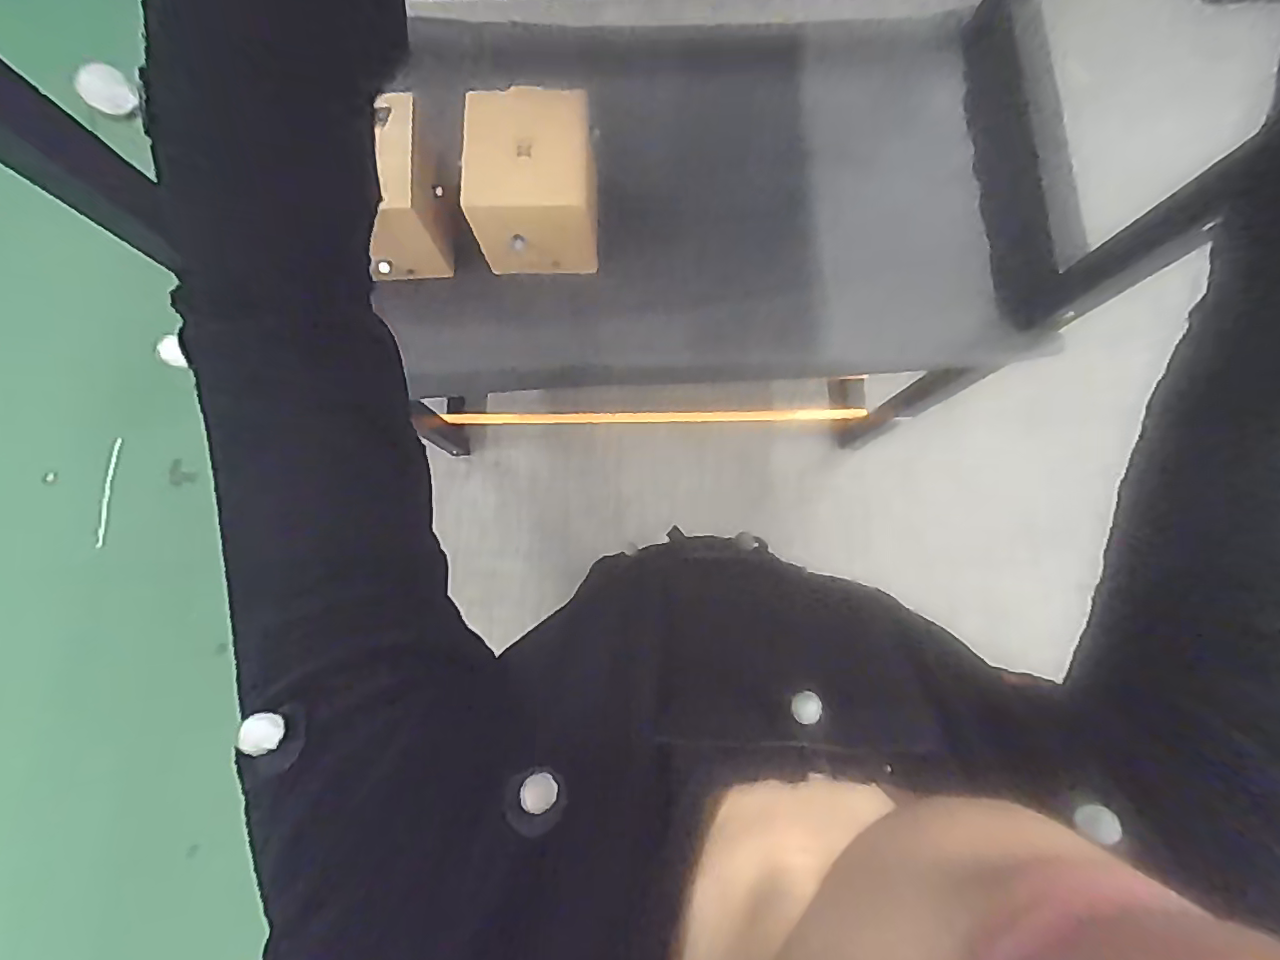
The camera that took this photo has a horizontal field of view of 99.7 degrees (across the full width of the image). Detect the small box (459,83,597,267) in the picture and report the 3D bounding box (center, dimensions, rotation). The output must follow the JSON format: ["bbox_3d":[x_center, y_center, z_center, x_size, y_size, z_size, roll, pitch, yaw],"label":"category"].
[{"bbox_3d":[-0.150,-0.428,0.783,0.168,0.176,0.179,-1,79,0],"label":"small box"}]

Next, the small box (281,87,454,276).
[{"bbox_3d":[-0.377,-0.420,0.779,0.168,0.176,0.179,-3,80,0],"label":"small box"}]
